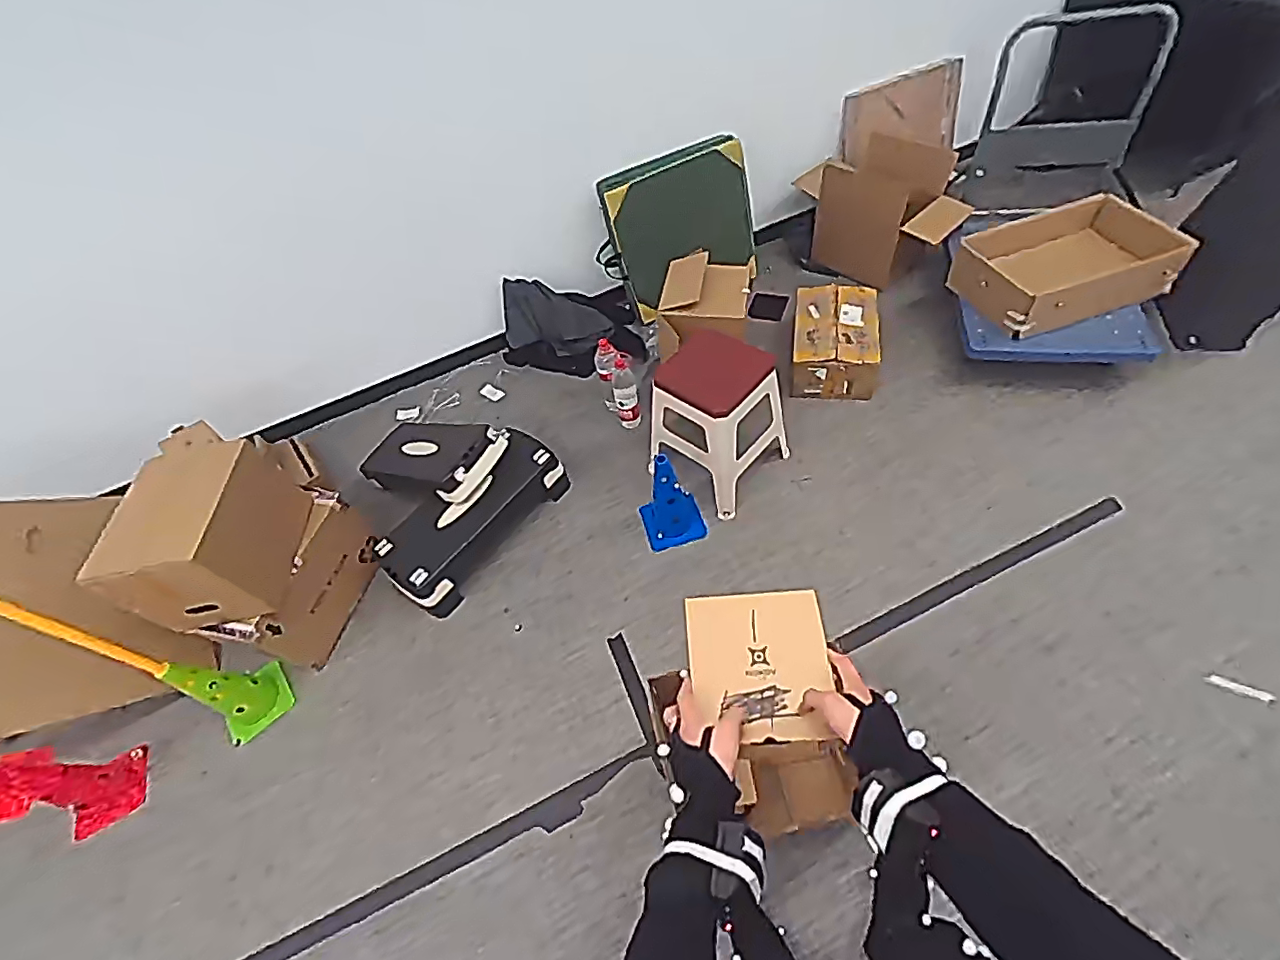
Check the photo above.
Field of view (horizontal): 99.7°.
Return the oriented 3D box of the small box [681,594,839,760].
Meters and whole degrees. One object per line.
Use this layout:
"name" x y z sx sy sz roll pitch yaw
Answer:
"small box" 0.146 0.264 0.706 0.168 0.176 0.179 -5 58 5
